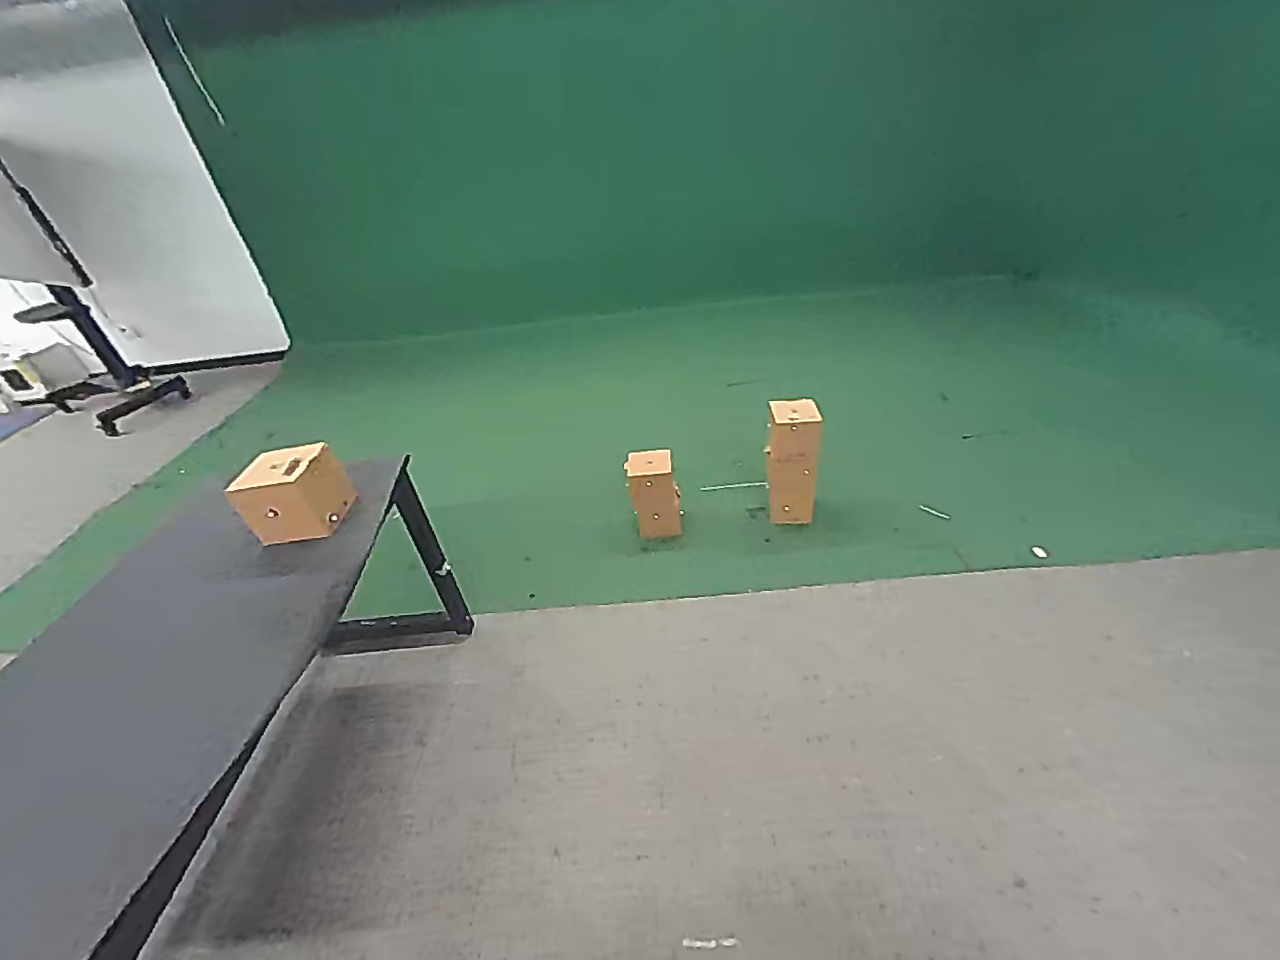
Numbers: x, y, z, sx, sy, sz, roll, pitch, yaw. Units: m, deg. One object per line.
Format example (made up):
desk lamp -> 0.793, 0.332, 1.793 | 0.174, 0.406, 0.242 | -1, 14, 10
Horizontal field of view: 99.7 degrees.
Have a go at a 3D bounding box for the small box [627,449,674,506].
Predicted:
small box -> 0.045, -0.008, 2.190 | 0.179, 0.176, 0.168 | -4, 37, 4

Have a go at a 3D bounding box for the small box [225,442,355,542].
small box -> -0.834, 0.030, 1.314 | 0.179, 0.176, 0.168 | -8, 36, 4

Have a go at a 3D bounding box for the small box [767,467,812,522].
small box -> 0.626, 0.065, 2.270 | 0.168, 0.176, 0.179 | -1, 36, 9

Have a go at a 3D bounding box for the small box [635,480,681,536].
small box -> 0.075, 0.122, 2.285 | 0.179, 0.176, 0.168 | -6, 36, 2

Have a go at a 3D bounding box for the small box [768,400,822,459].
small box -> 0.586, -0.193, 2.071 | 0.168, 0.176, 0.179 | -2, 35, 5
